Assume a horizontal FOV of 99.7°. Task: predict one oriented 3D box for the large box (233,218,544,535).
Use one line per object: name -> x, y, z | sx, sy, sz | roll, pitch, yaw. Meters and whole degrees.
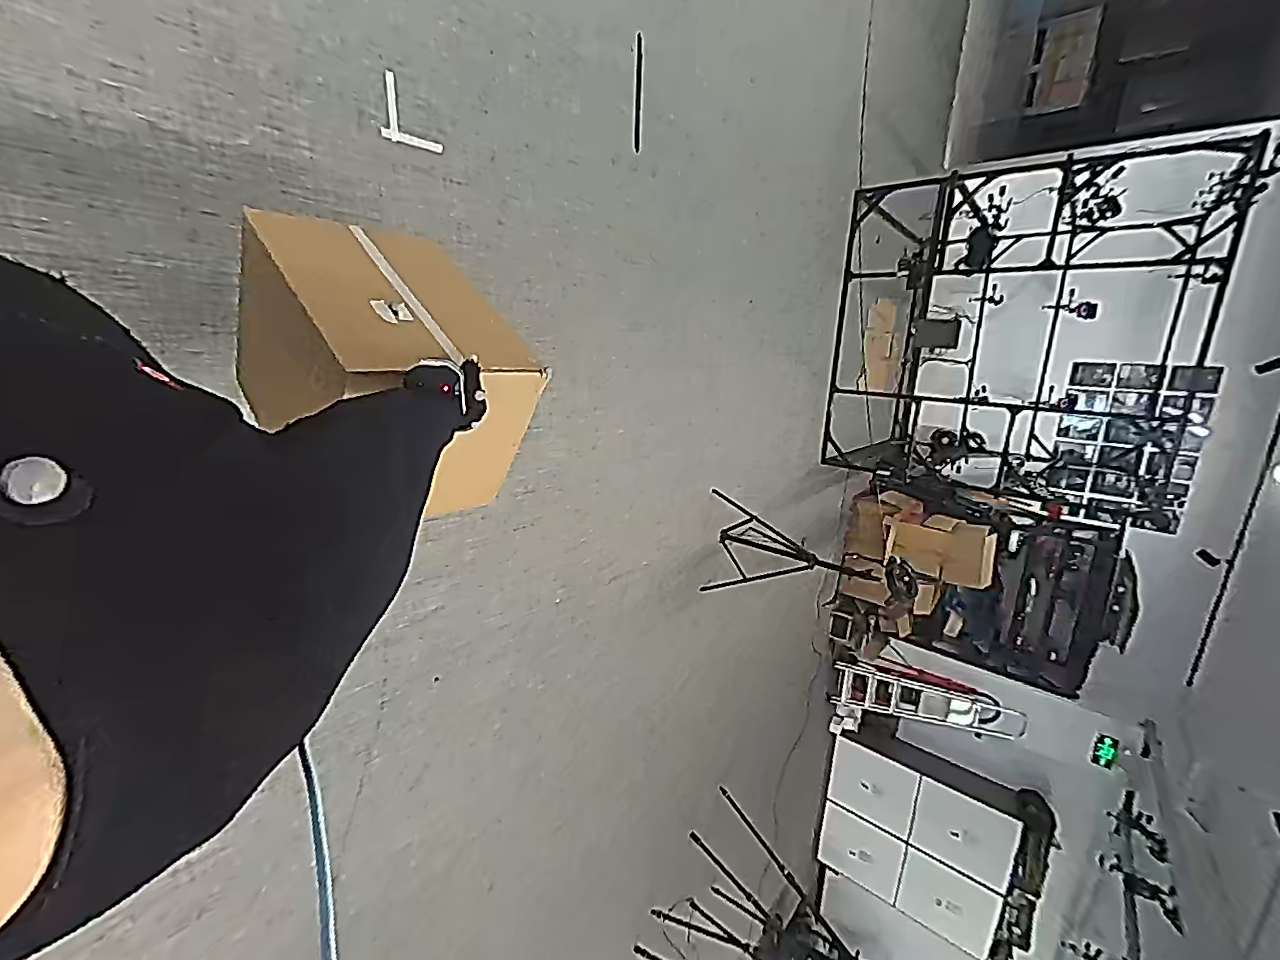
large box -> -0.447, -0.175, 0.933 | 0.320, 0.408, 0.320 | -14, 146, -48
